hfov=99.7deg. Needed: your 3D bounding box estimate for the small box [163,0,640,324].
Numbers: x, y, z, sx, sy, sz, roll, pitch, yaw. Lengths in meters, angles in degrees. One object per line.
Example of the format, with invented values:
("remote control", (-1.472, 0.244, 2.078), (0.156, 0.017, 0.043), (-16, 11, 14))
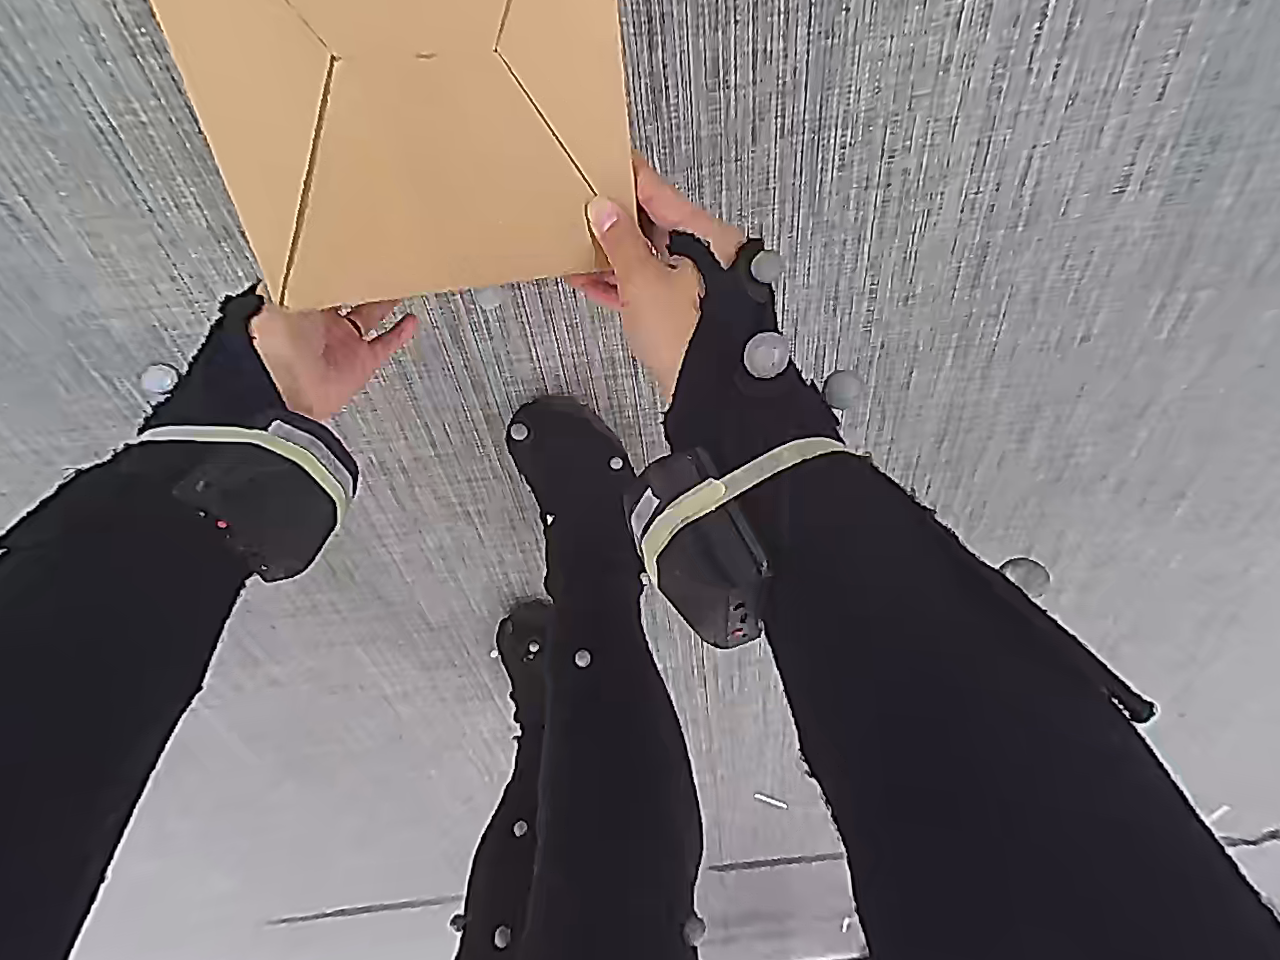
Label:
("small box", (-0.104, -0.193, 0.280), (0.168, 0.176, 0.179), (-12, 118, -11))
